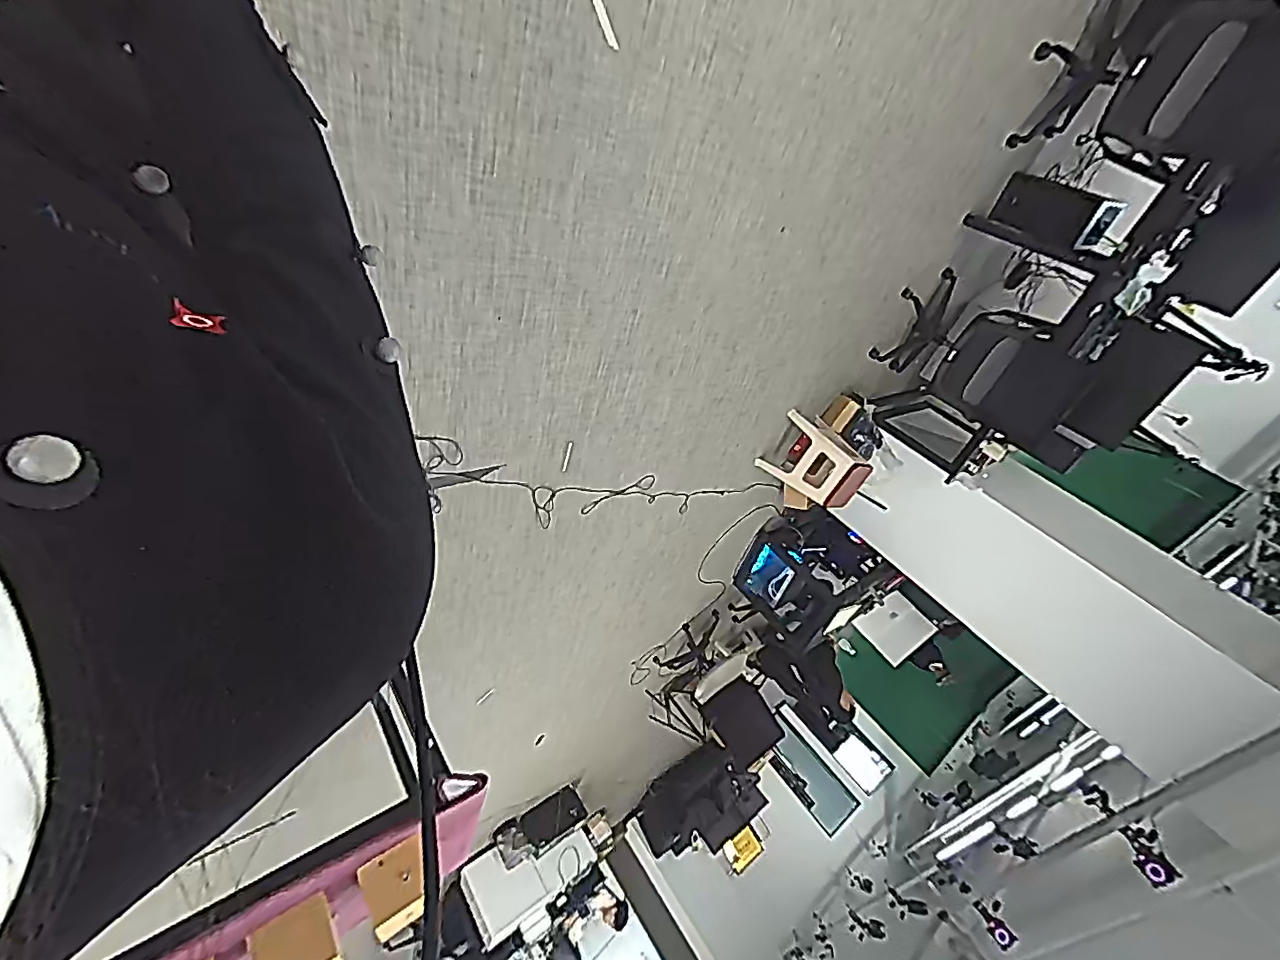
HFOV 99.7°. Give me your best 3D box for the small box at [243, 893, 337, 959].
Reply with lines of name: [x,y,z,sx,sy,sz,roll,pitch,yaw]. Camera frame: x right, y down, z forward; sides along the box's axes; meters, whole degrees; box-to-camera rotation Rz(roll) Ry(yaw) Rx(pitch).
small box: [-0.904,1.229,1.401,0.179,0.176,0.168,-17,140,-36]

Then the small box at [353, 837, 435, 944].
small box: [-0.710,1.176,1.560,0.168,0.176,0.179,-20,141,-33]
